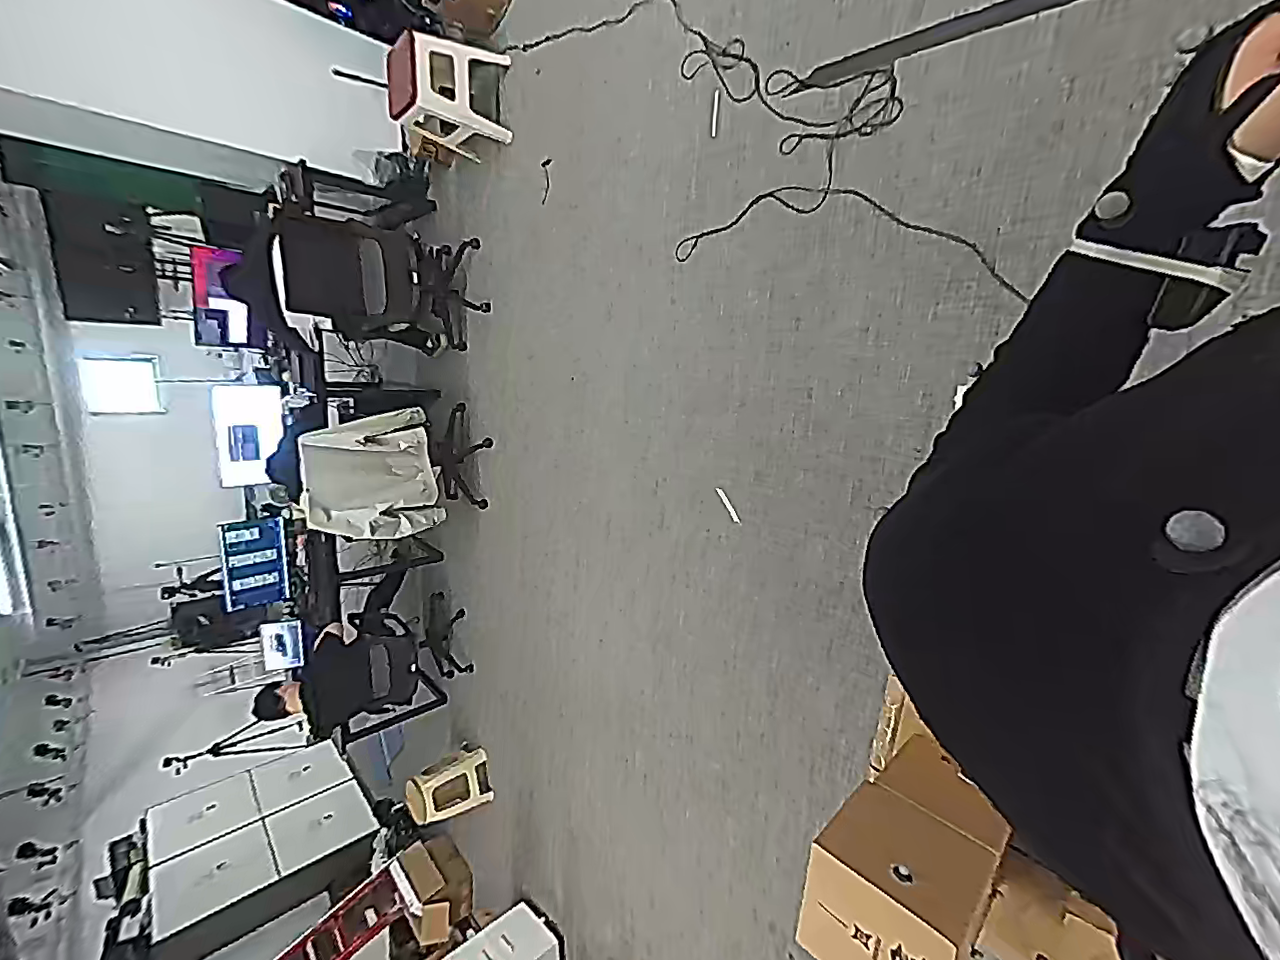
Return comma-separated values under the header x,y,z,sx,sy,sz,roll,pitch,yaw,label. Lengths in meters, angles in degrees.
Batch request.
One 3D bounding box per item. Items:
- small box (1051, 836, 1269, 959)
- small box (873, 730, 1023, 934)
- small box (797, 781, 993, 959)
x,y,z,sx,sy,sz,roll,pitch,yaw,label
0.619,0.591,0.653,0.168,0.176,0.179,16,107,47,small box
0.458,0.526,0.825,0.168,0.176,0.179,16,106,43,small box
0.337,0.542,0.713,0.179,0.176,0.168,17,108,44,small box
